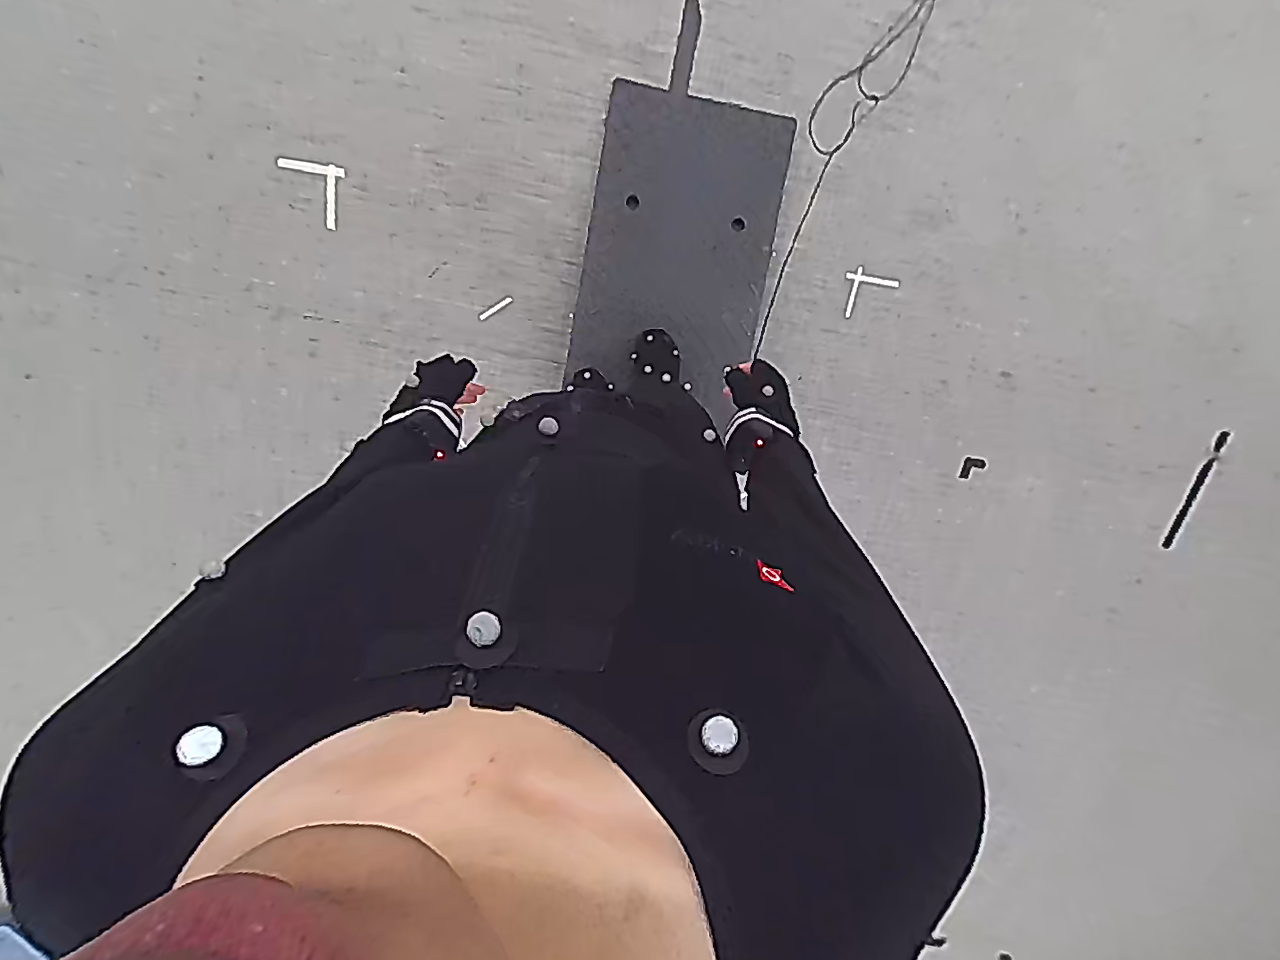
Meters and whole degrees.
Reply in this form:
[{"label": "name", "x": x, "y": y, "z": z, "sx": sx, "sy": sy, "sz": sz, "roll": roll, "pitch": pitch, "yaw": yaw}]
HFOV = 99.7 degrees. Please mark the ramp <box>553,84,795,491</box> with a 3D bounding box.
[{"label": "ramp", "x": 0.081, "y": -0.495, "z": 1.448, "sx": 0.509, "sy": 0.206, "sz": 0.991, "roll": 9, "pitch": 105, "yaw": -2}]
